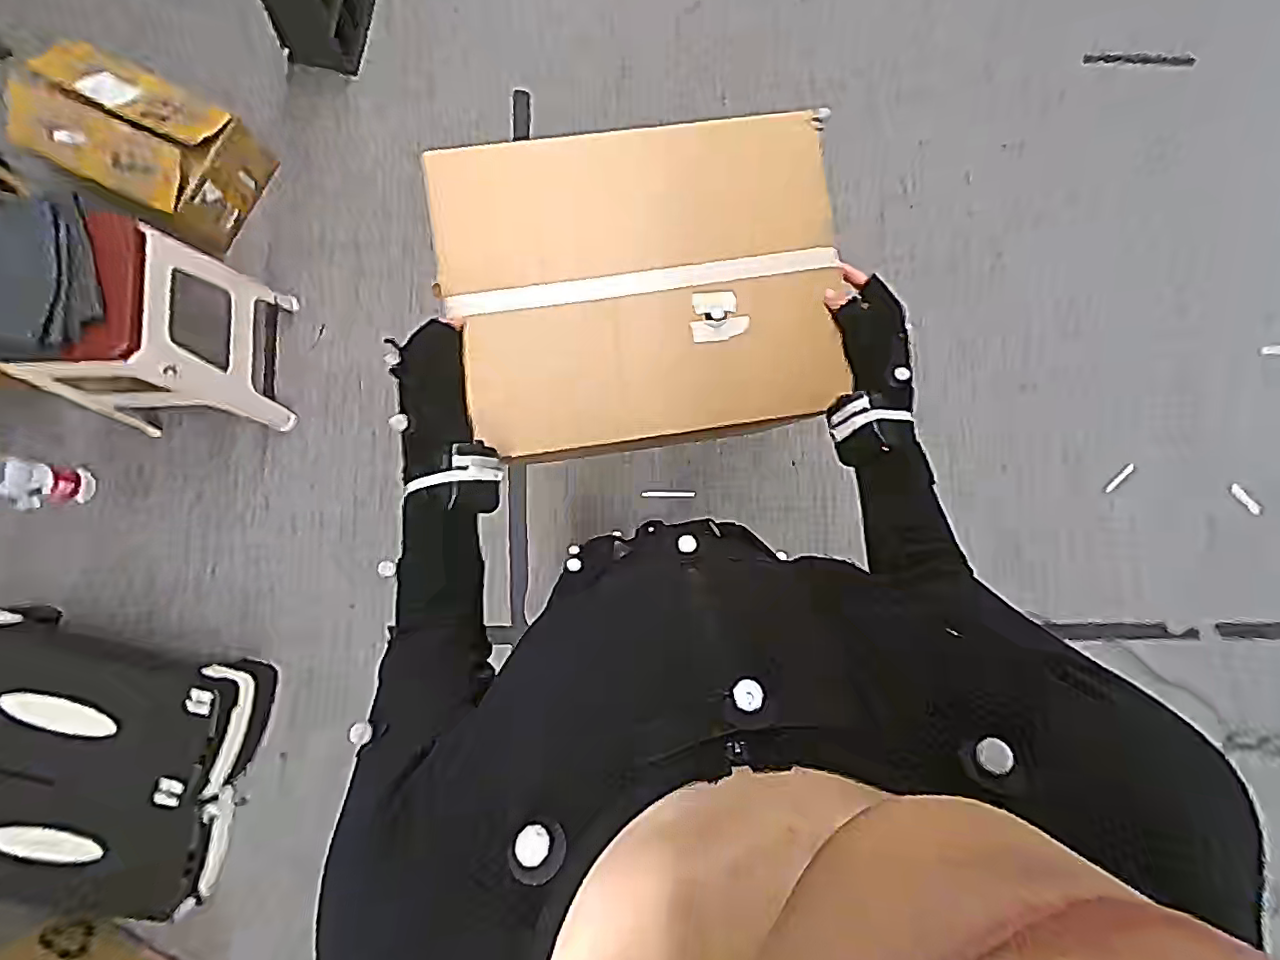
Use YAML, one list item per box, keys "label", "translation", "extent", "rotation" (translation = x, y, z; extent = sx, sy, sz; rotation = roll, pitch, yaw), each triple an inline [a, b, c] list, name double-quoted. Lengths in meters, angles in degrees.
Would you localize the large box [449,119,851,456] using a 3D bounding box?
- label: "large box"
  translation: [0.005, -0.214, 0.722]
  extent: [0.408, 0.320, 0.320]
  rotation: [-7, 92, -4]
